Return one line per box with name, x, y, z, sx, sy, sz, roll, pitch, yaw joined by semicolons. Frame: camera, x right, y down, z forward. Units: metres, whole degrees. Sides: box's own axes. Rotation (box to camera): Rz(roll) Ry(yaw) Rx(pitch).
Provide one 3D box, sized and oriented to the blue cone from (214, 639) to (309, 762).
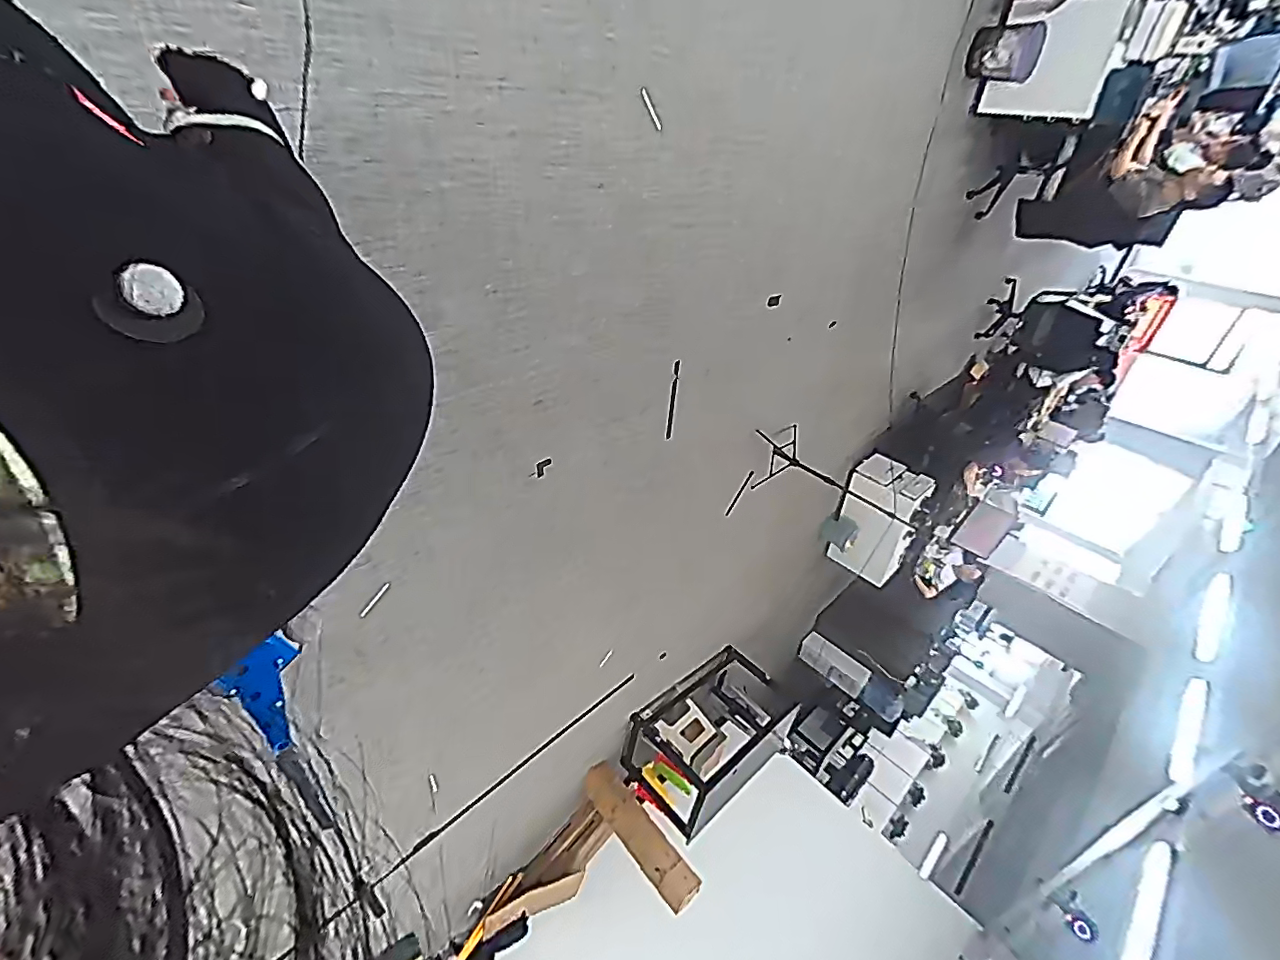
blue cone;-1.023;0.645;1.528;0.193;0.380;0.192;-41;141;-24
